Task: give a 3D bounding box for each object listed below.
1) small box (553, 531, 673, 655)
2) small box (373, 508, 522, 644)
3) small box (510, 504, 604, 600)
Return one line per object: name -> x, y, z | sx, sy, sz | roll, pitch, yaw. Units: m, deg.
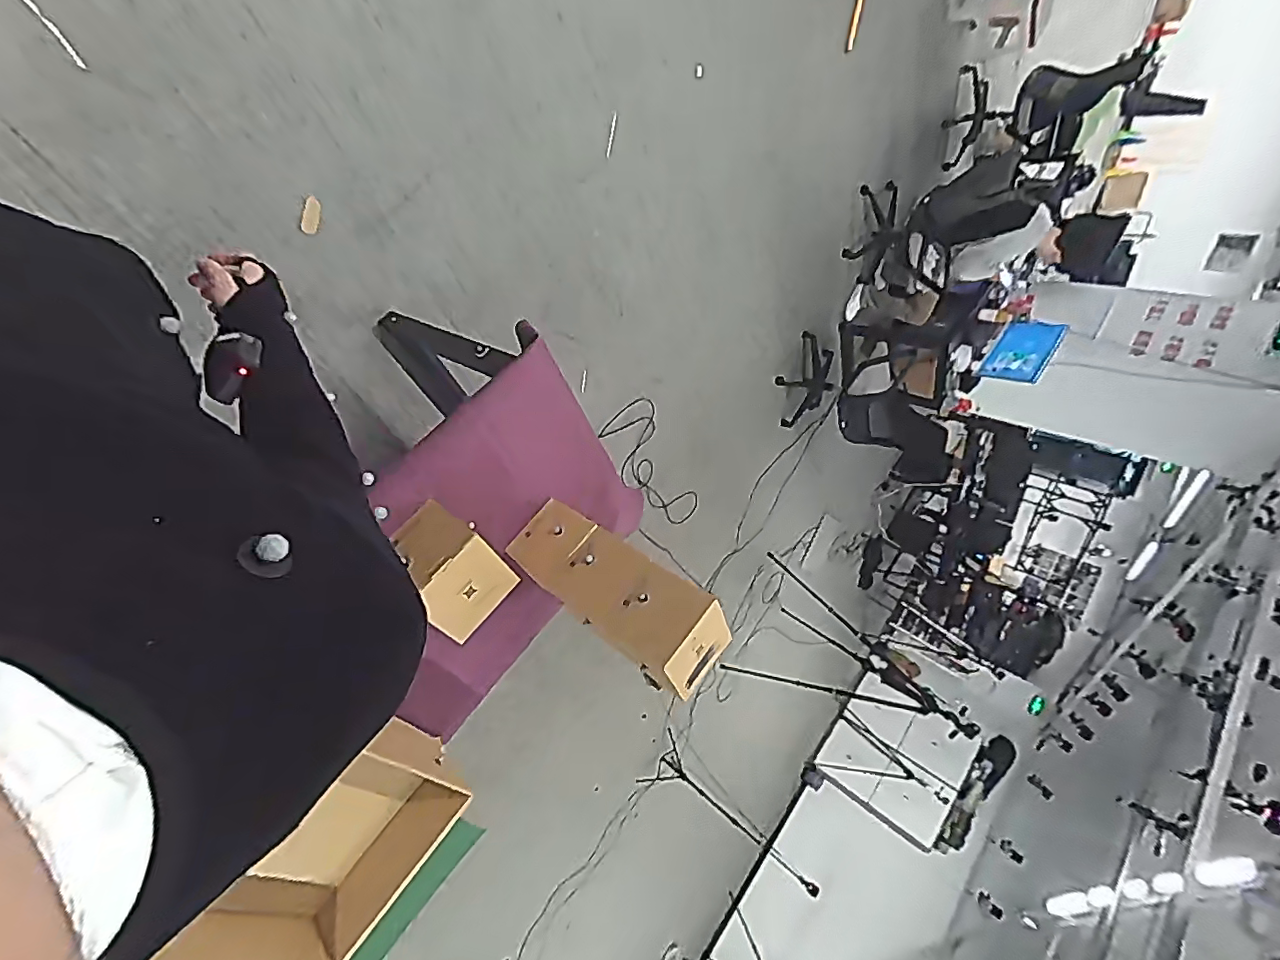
small box -> -0.057, 0.241, 1.180 | 0.168, 0.176, 0.179 | -47, 139, -22
small box -> -0.369, 0.175, 1.037 | 0.168, 0.176, 0.179 | -48, 142, -20
small box -> -0.173, 0.178, 1.278 | 0.168, 0.176, 0.179 | -50, 142, -19
